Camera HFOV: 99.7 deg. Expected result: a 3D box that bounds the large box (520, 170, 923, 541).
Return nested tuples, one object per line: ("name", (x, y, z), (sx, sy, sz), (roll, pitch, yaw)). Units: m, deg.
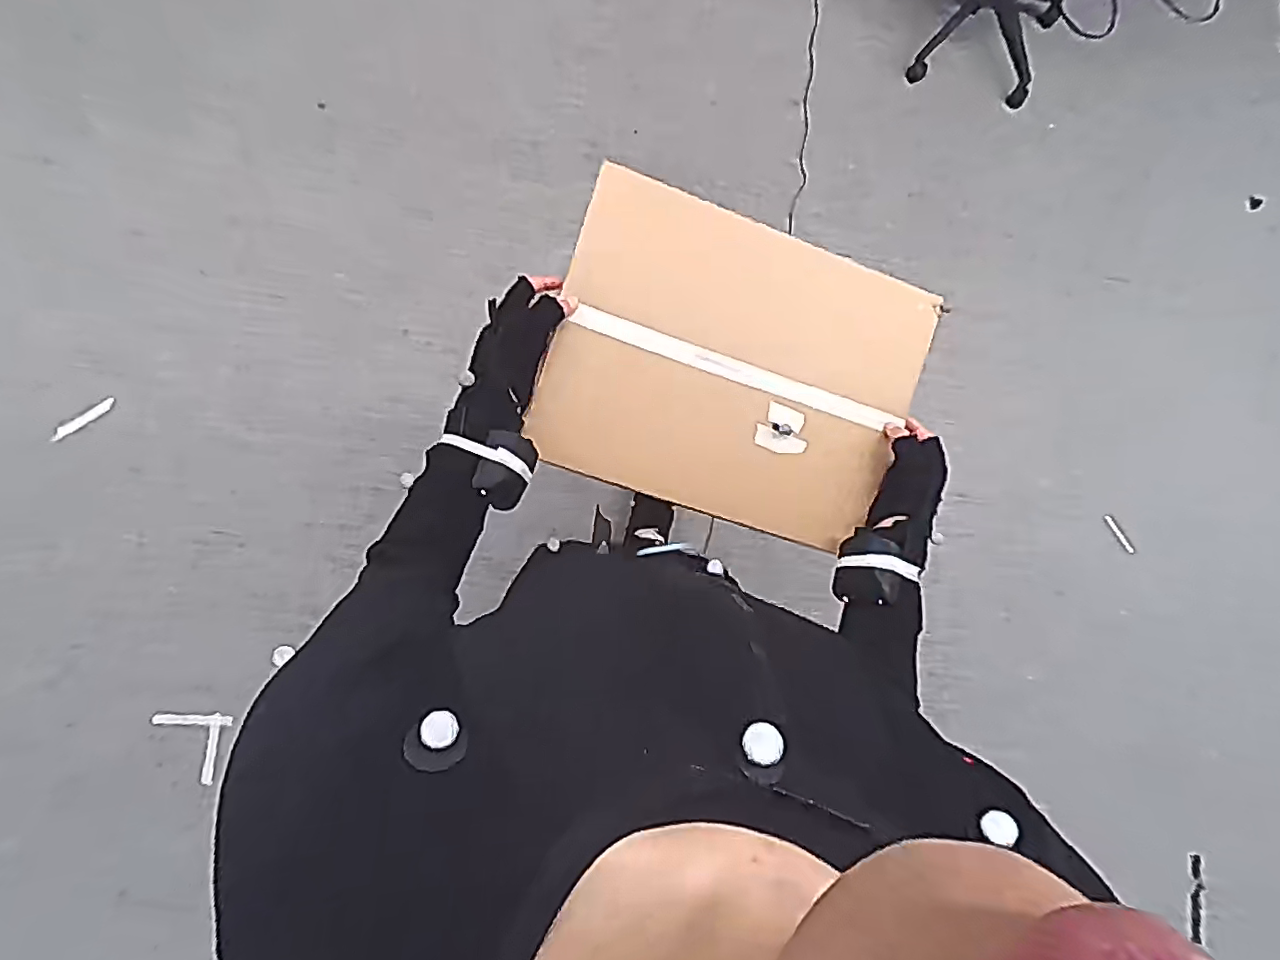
("large box", (0.078, -0.136, 0.747), (0.408, 0.320, 0.320), (18, 92, -9))
